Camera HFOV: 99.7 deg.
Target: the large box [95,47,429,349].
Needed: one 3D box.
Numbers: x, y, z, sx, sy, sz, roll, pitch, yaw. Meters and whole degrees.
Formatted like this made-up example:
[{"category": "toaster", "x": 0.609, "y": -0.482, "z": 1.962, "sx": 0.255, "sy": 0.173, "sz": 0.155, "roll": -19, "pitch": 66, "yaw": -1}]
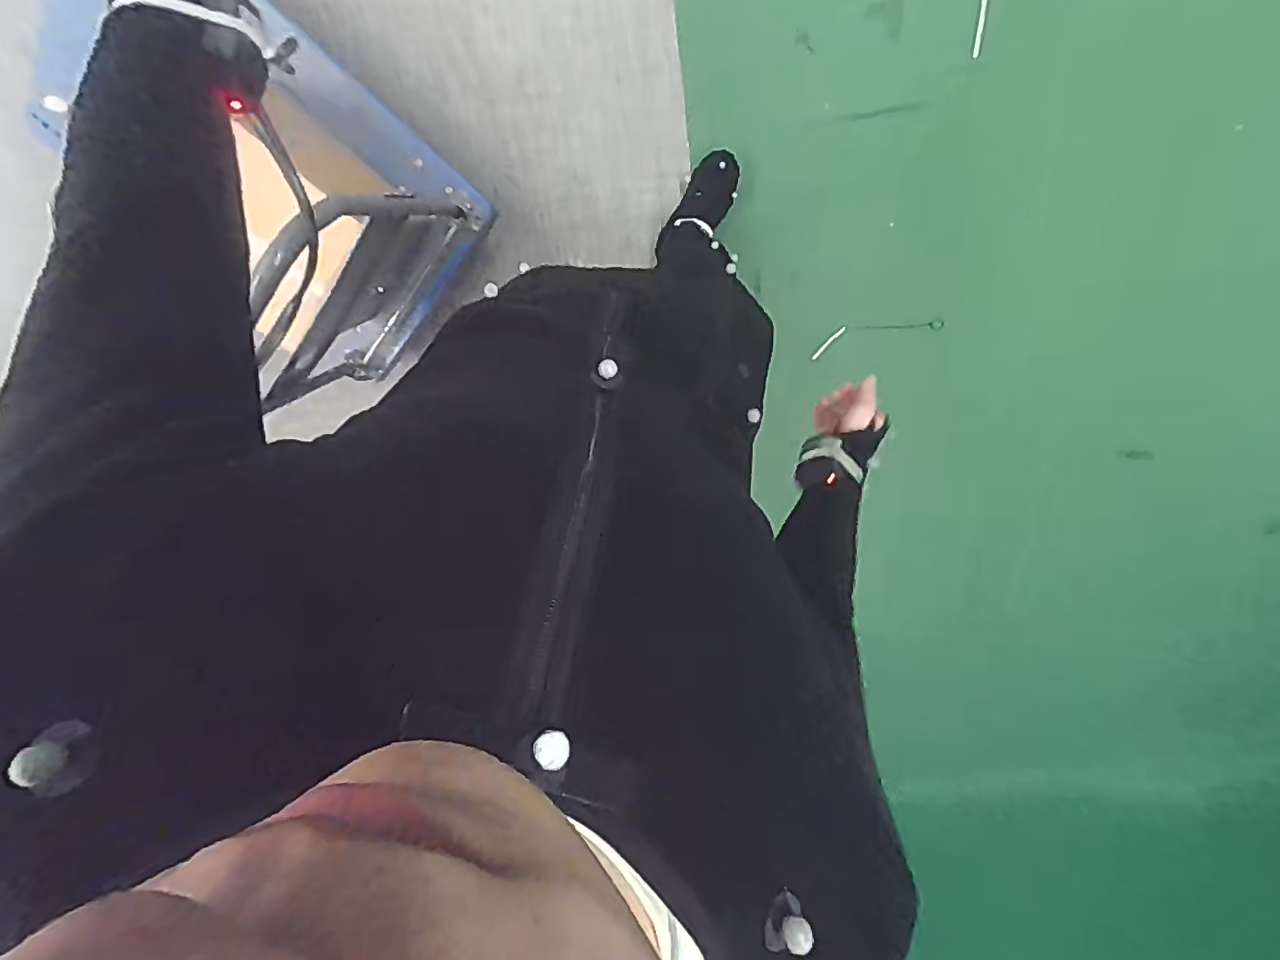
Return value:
[{"category": "large box", "x": -0.723, "y": -0.541, "z": 1.093, "sx": 0.408, "sy": 0.320, "sz": 0.320, "roll": 39, "pitch": 113, "yaw": -16}]
